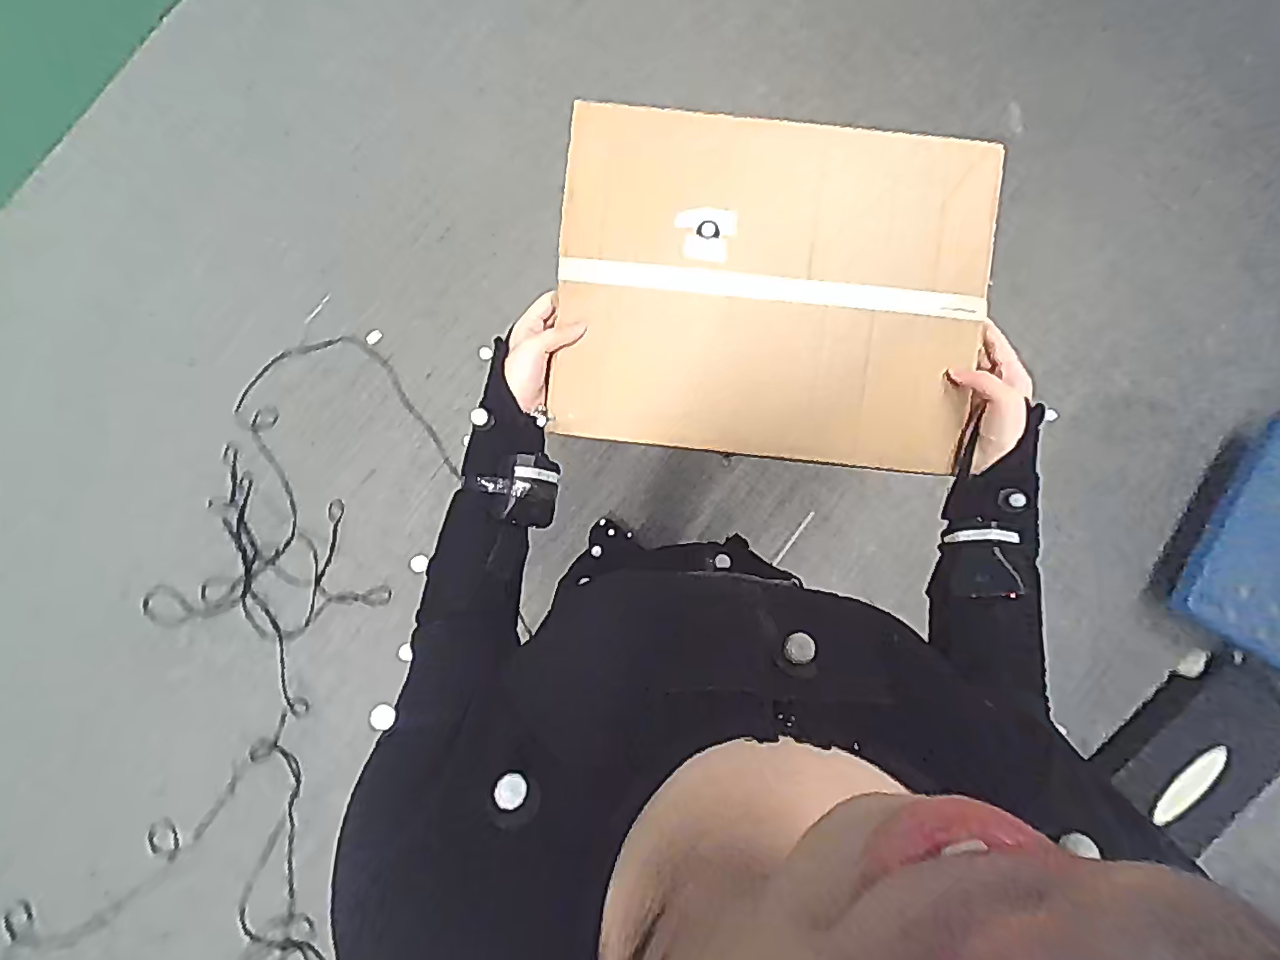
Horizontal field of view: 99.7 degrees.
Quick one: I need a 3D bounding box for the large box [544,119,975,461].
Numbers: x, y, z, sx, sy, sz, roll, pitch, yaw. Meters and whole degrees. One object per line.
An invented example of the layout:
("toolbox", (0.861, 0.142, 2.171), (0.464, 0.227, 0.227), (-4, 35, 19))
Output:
("large box", (0.116, -0.196, 0.675), (0.408, 0.320, 0.320), (4, 94, 2))
